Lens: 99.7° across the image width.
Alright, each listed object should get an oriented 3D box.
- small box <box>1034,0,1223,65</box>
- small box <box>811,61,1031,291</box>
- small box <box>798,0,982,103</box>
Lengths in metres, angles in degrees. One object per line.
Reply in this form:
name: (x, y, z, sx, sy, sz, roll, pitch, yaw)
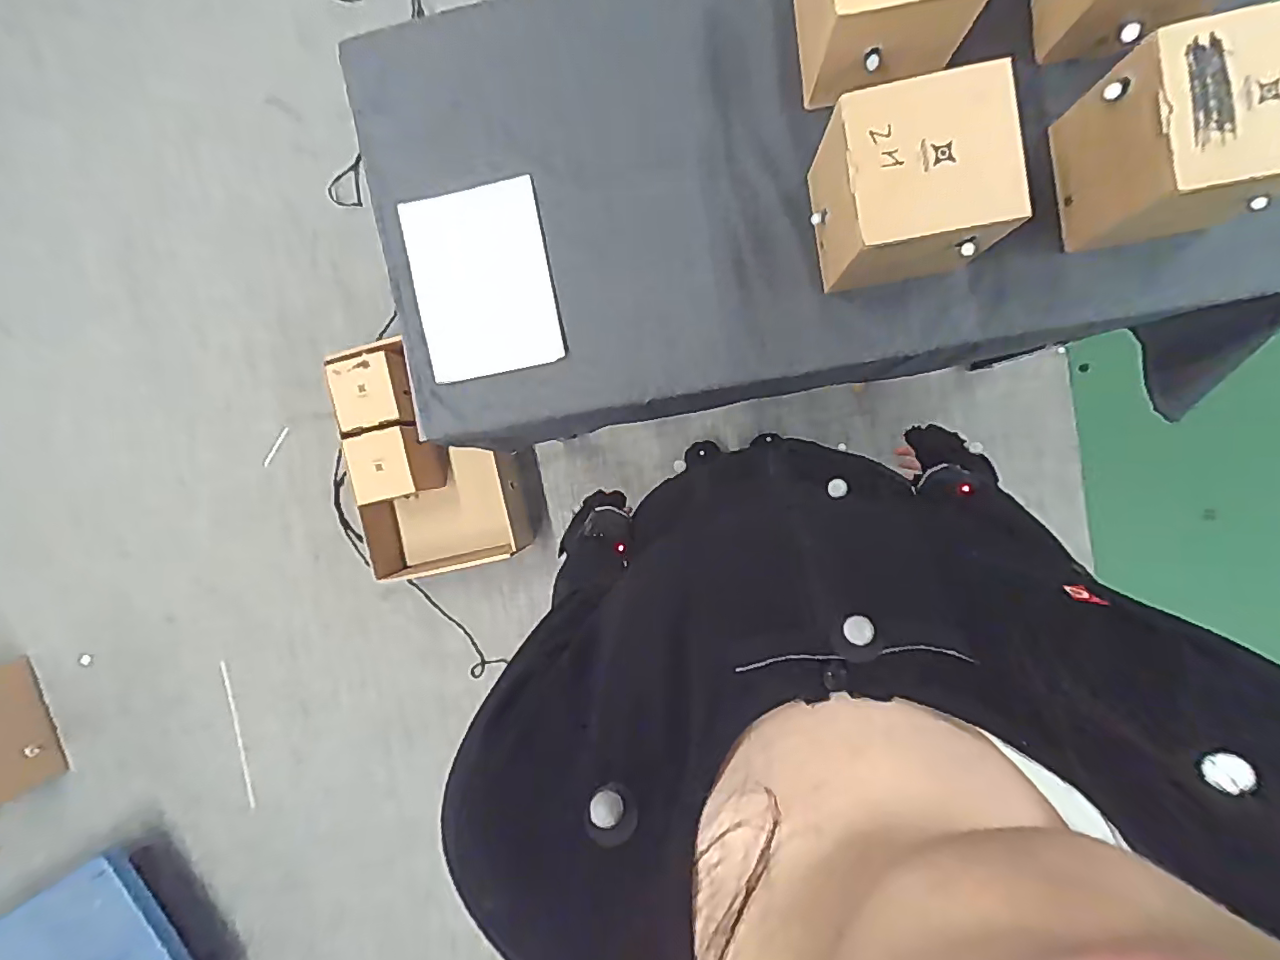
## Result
small box: (0.575, -0.621, 0.606, 0.168, 0.176, 0.179, -6, 93, 7)
small box: (0.318, -0.342, 0.646, 0.179, 0.176, 0.168, -8, 91, 7)
small box: (0.290, -0.586, 0.641, 0.168, 0.176, 0.179, -6, 92, 7)
